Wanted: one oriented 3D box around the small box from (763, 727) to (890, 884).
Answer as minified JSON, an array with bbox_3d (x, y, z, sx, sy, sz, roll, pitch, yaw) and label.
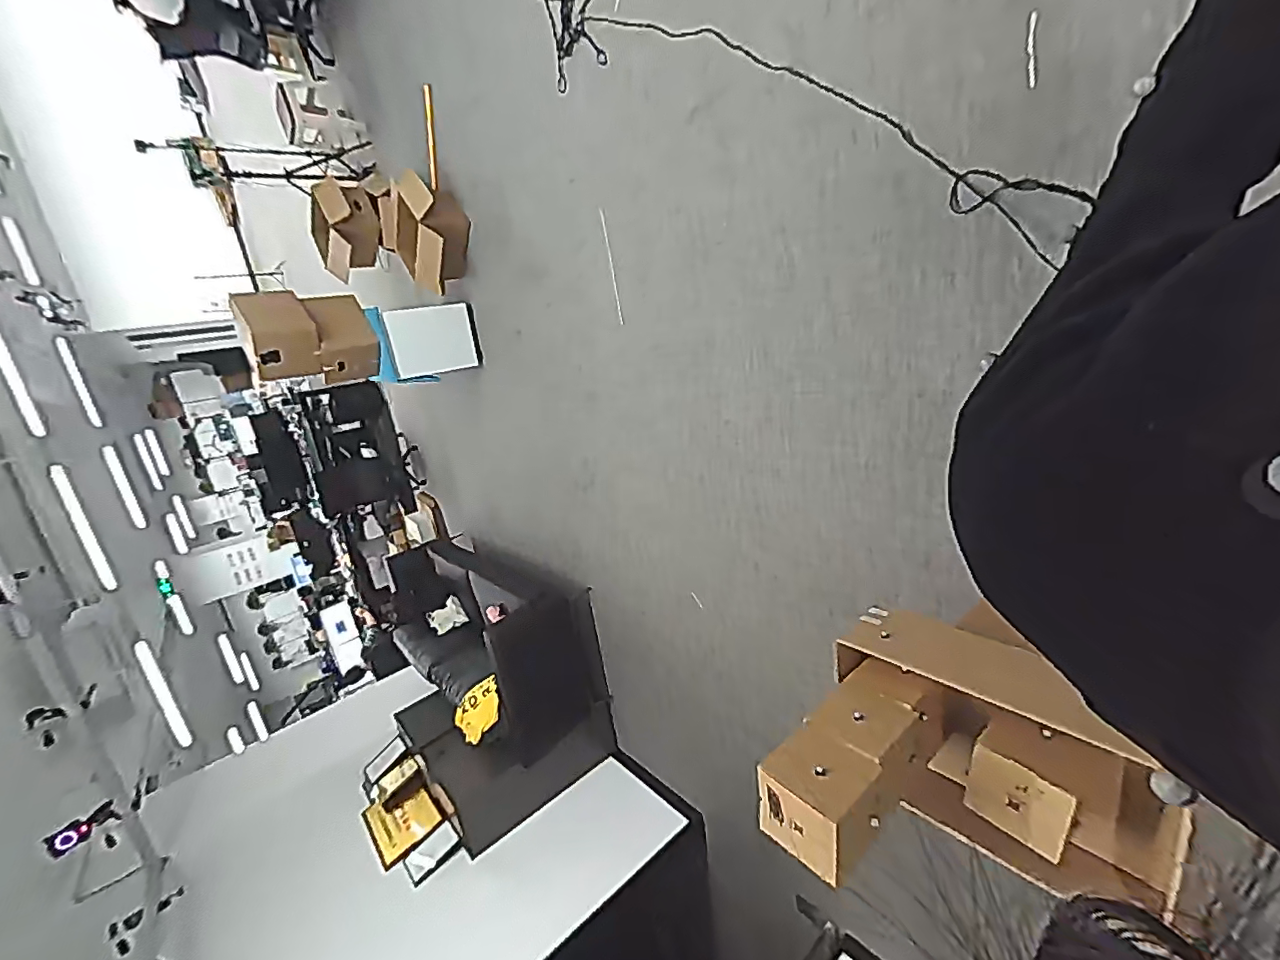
[{"bbox_3d":[0.366,0.626,1.071,0.179,0.176,0.168,16,119,48],"label":"small box"}]
